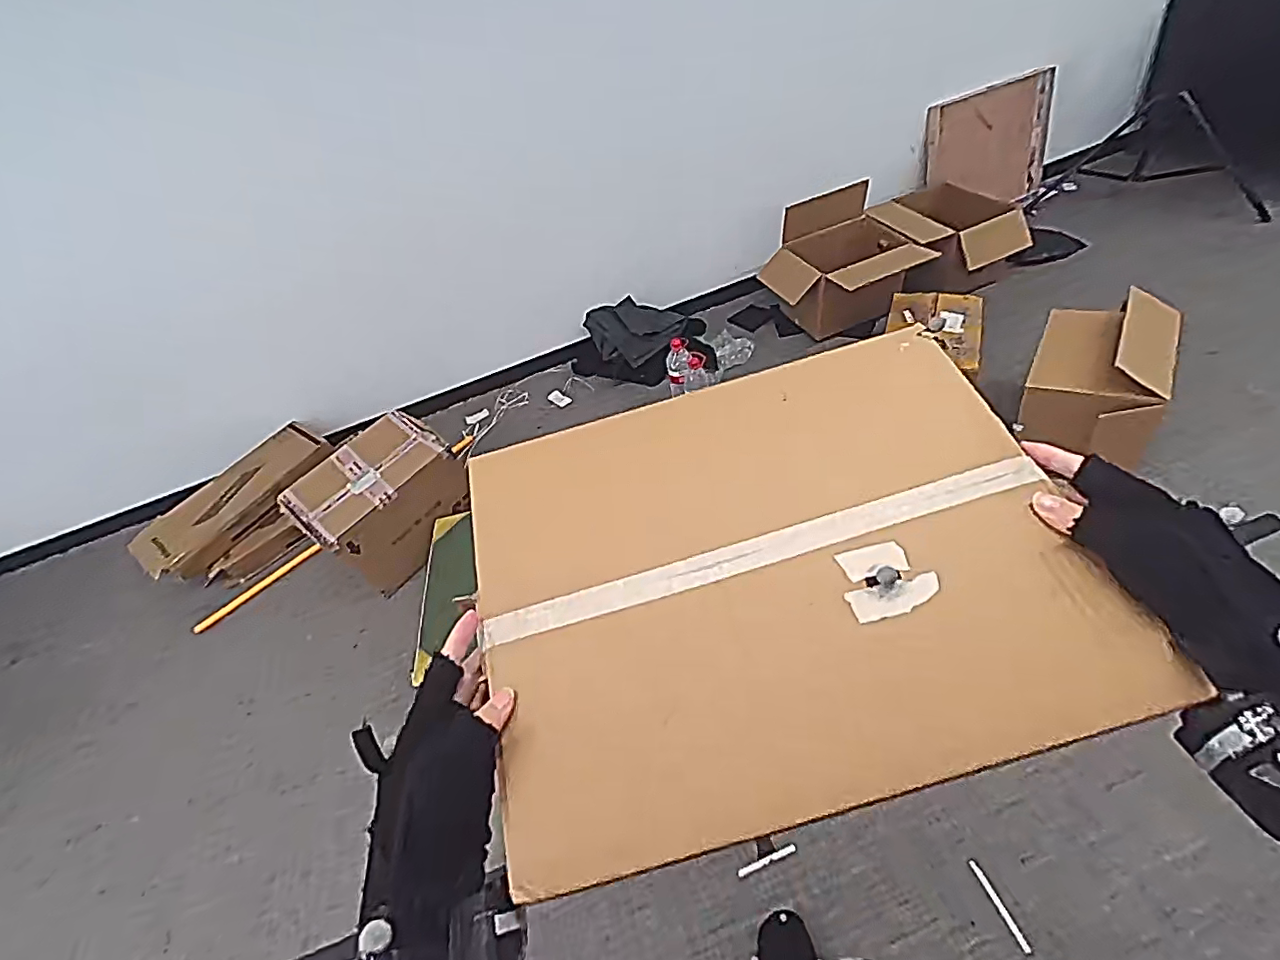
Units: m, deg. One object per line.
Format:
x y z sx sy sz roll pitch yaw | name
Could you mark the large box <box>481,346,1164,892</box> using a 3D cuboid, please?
0.107 0.137 0.521 0.408 0.320 0.320 -17 58 -1 | large box
